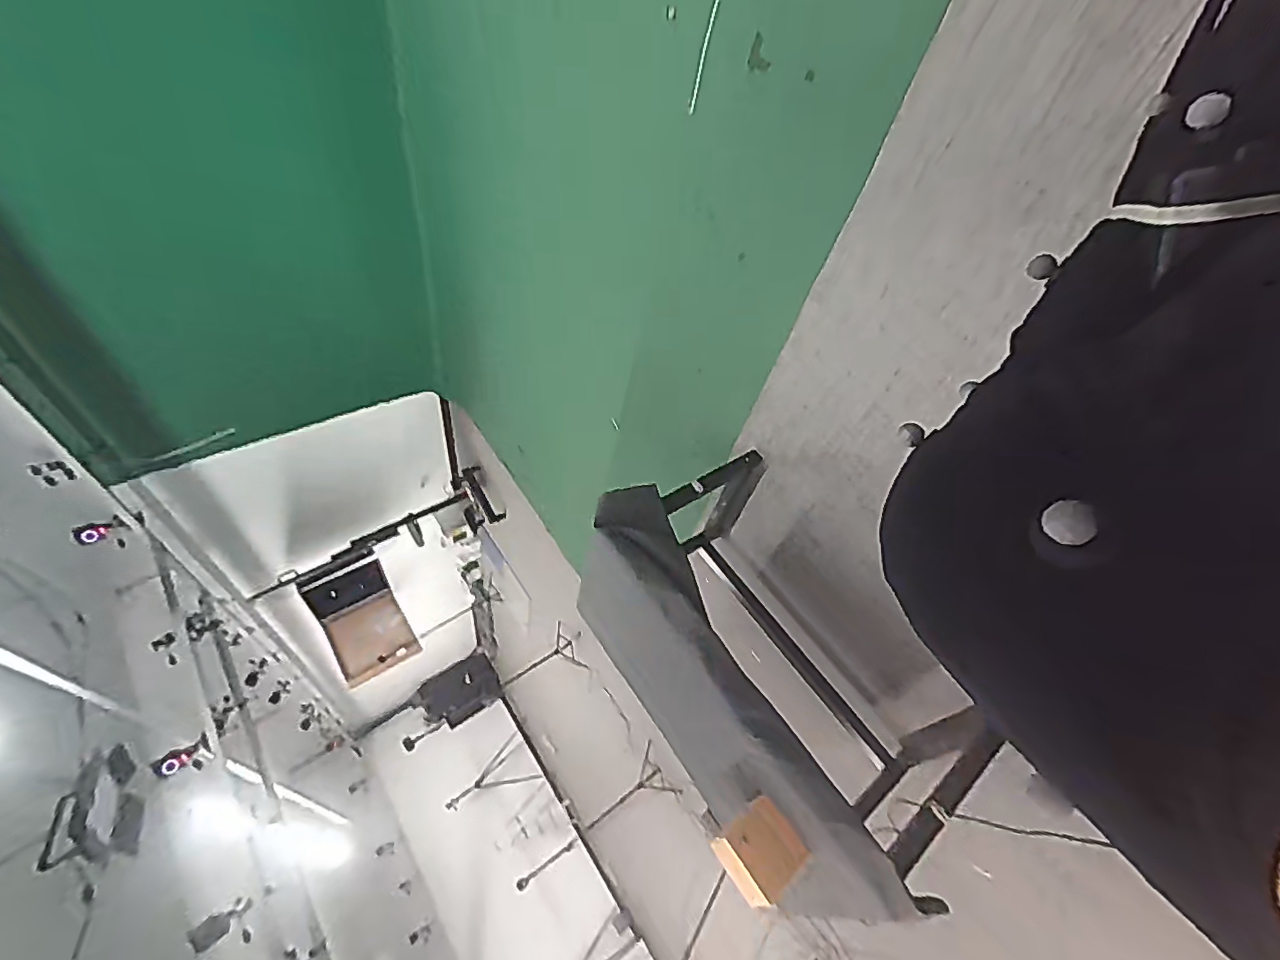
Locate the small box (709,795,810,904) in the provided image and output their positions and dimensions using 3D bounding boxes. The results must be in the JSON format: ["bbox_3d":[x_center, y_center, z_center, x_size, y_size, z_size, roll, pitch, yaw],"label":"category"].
[{"bbox_3d":[0.319,0.983,1.441,0.179,0.176,0.168,50,148,26],"label":"small box"}]
